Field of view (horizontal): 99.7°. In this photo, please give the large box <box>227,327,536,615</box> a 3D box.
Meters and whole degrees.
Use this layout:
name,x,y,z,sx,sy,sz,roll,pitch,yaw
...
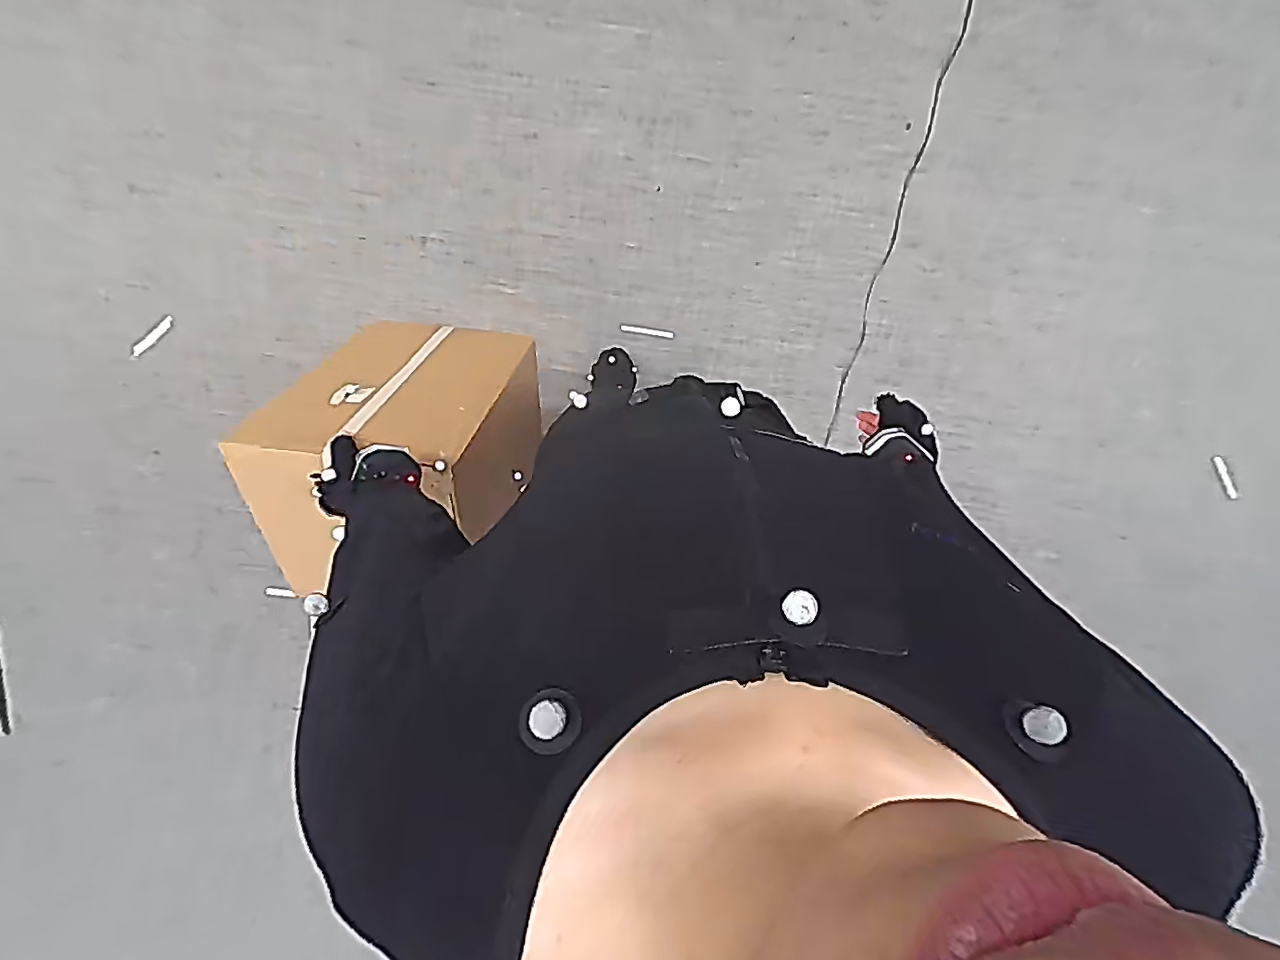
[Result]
name,x,y,z,sx,sy,sz,roll,pitch,yaw
large box,-0.385,-0.031,0.948,0.320,0.408,0.320,5,129,4
